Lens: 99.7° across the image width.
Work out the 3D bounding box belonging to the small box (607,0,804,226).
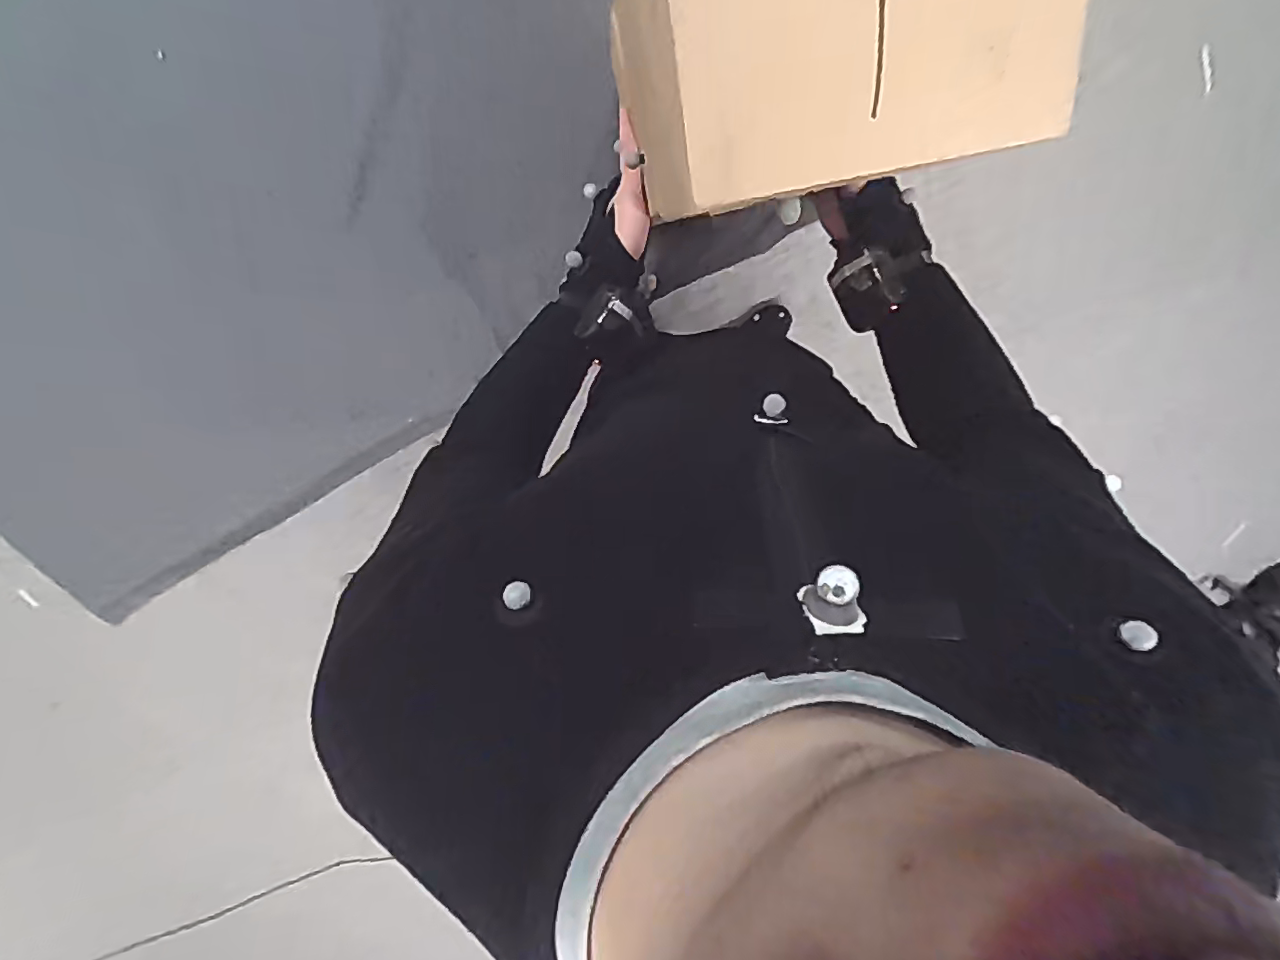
[{"bbox_3d":[0.064,-0.370,0.555,0.168,0.176,0.179,-10,114,2],"label":"small box"}]

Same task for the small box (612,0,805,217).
[{"bbox_3d":[0.073,-0.305,0.405,0.168,0.176,0.179,-10,112,1],"label":"small box"}]

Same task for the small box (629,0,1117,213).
[{"bbox_3d":[0.083,-0.237,0.256,0.168,0.176,0.179,-9,114,1],"label":"small box"}]
